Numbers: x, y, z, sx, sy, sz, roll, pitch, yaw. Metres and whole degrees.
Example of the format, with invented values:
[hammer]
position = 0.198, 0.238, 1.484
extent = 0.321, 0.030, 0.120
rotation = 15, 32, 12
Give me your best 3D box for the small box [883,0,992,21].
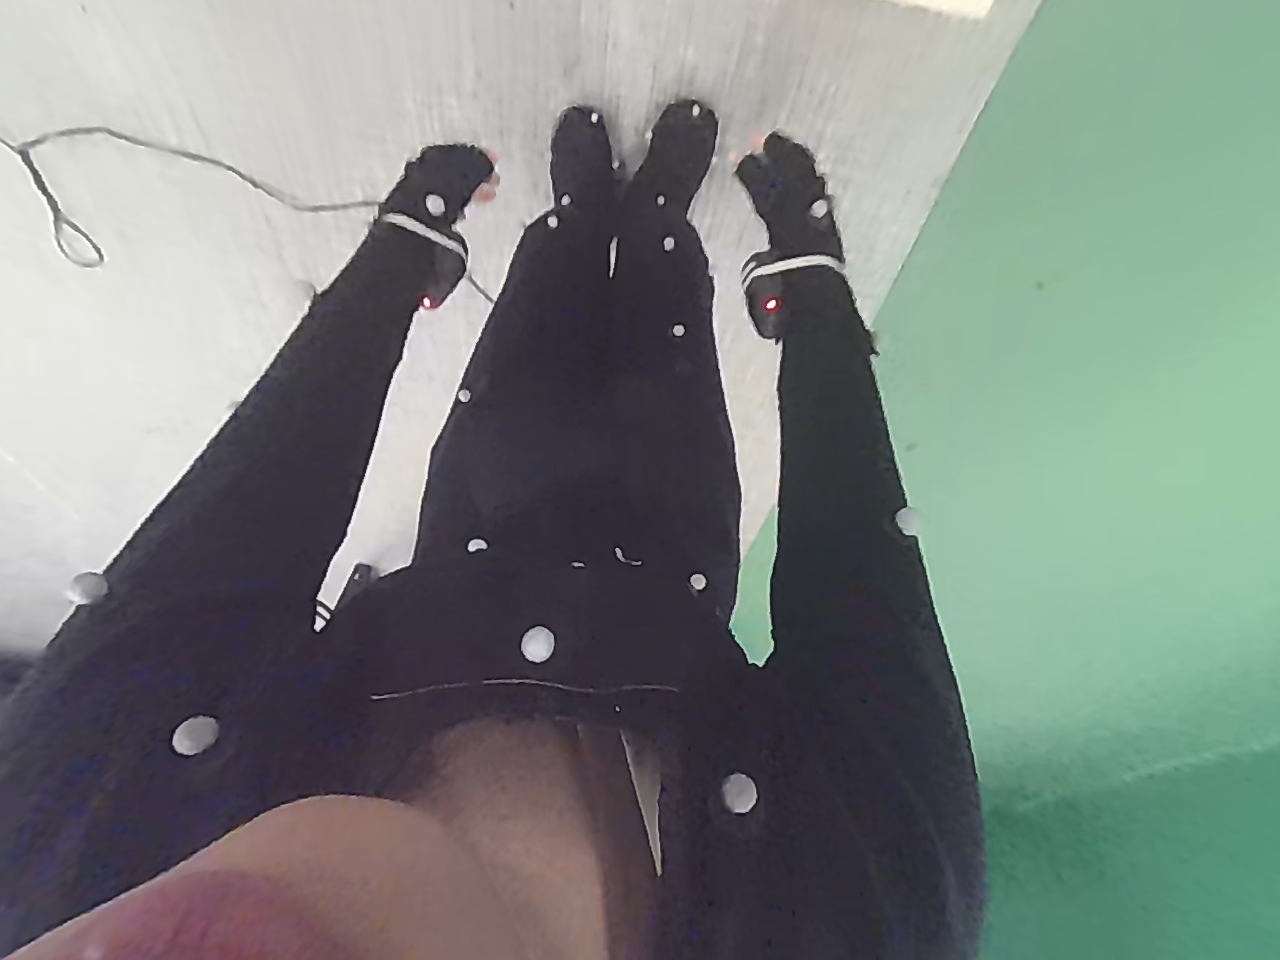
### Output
[small box]
position = 0.390, -0.734, 0.696
extent = 0.168, 0.176, 0.179
rotation = 8, 139, -5
